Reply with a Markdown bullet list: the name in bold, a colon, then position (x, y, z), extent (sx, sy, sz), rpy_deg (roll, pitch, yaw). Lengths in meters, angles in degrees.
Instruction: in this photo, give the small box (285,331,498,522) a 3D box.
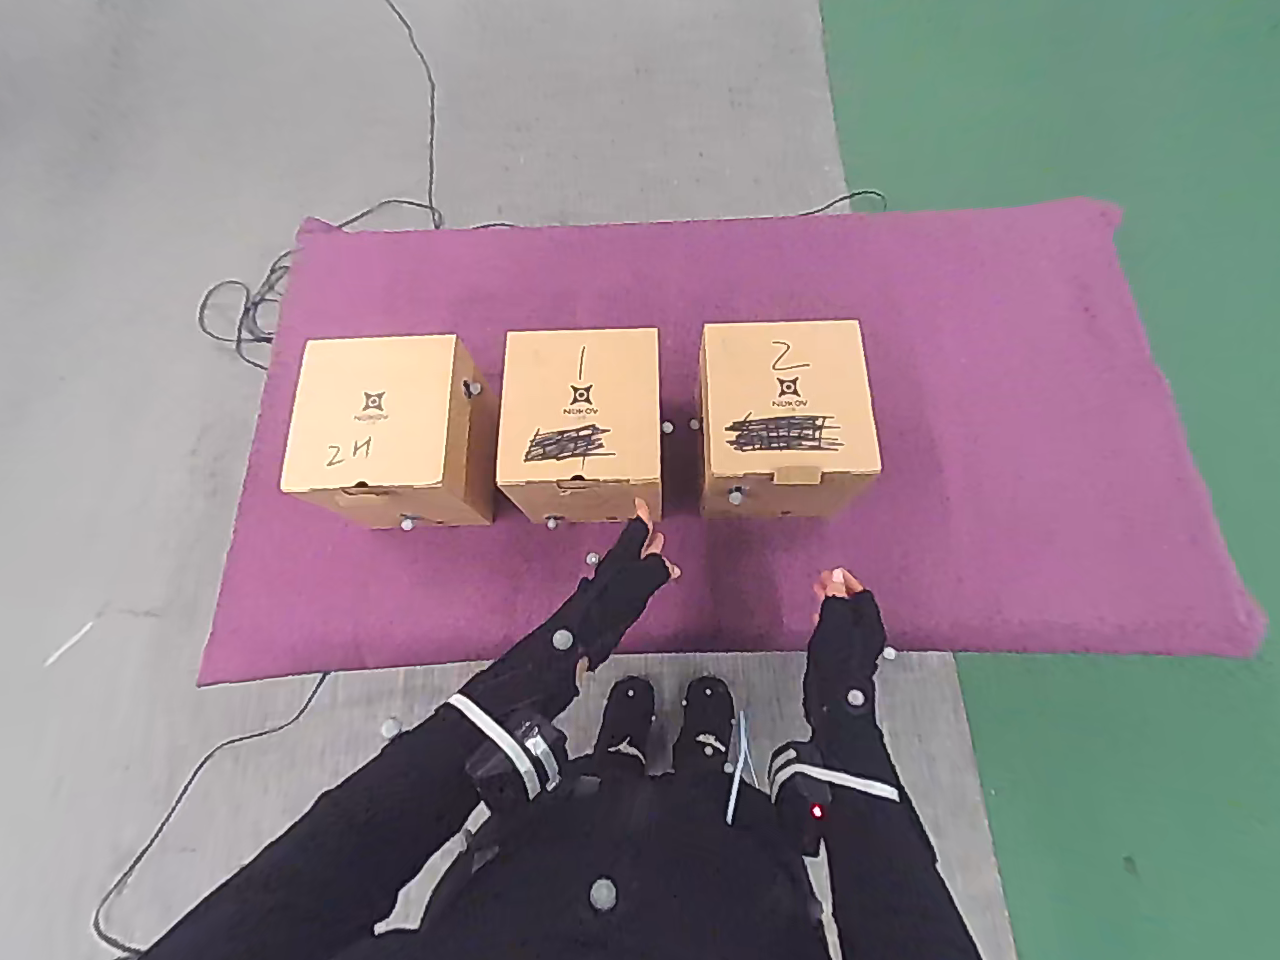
- **small box**: position (-0.275, -0.055, 0.643), extent (0.168, 0.176, 0.179), rpy_deg (-2, 73, 2)
